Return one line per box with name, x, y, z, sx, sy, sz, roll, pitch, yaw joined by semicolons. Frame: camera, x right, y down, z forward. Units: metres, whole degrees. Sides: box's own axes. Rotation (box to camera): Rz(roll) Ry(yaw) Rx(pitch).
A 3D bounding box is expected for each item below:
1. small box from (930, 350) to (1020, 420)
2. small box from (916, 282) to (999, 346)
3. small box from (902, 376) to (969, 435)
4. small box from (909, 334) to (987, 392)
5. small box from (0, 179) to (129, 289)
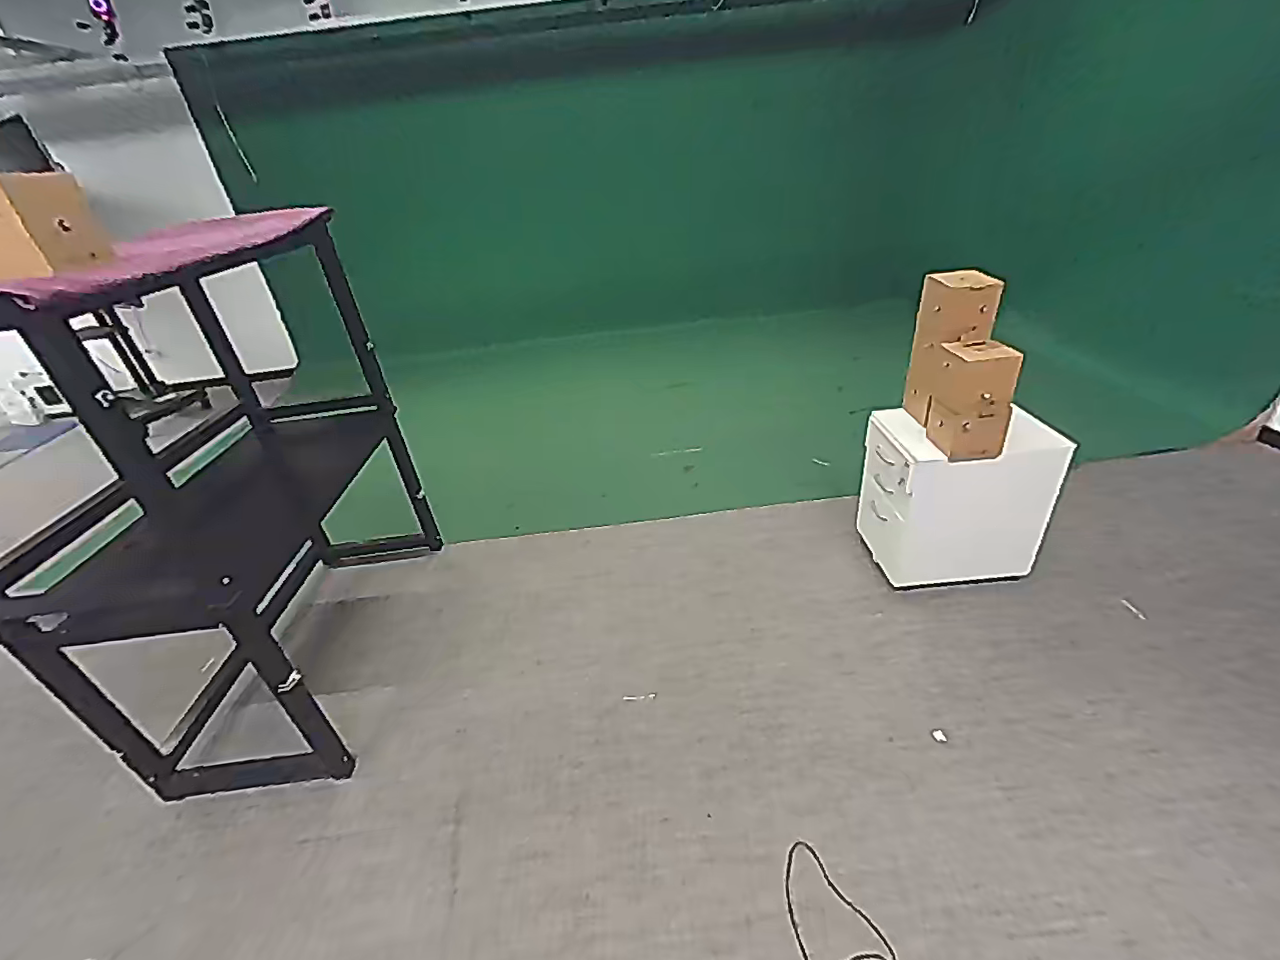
small box;1.046;-0.301;1.707;0.168;0.176;0.179;-5;30;1
small box;1.057;-0.554;1.814;0.168;0.176;0.179;-5;32;0
small box;1.091;-0.278;1.986;0.168;0.176;0.179;-6;32;1
small box;1.073;-0.417;1.901;0.168;0.176;0.179;-5;33;2
small box;-1.160;-0.474;1.038;0.179;0.176;0.168;-7;29;-1
